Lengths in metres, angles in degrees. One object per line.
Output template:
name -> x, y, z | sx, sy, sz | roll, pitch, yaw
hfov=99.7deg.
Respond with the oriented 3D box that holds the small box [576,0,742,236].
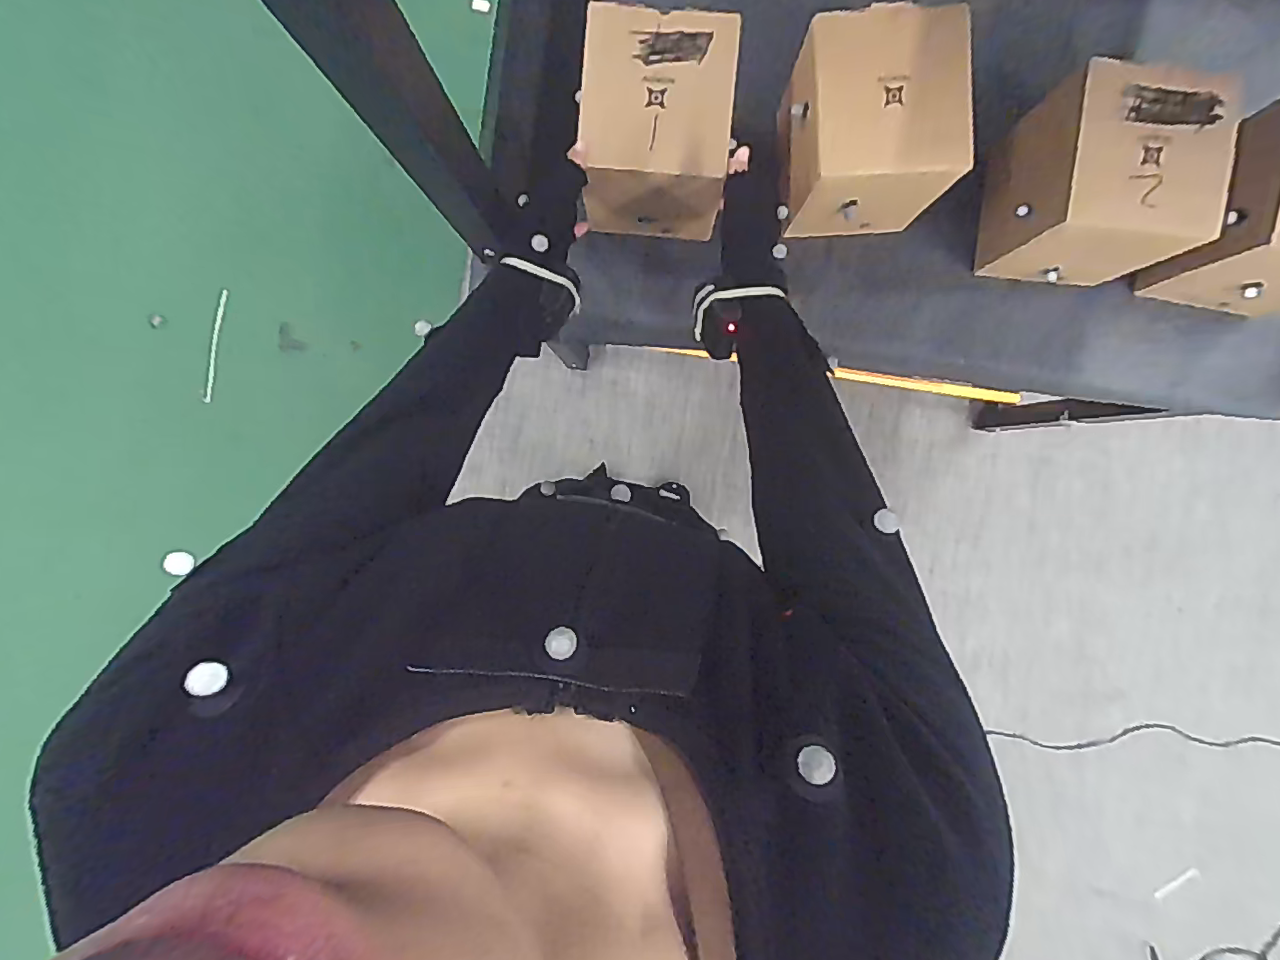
small box -> 0.020, -0.424, 0.656 | 0.168, 0.176, 0.179 | 5, 93, 1
